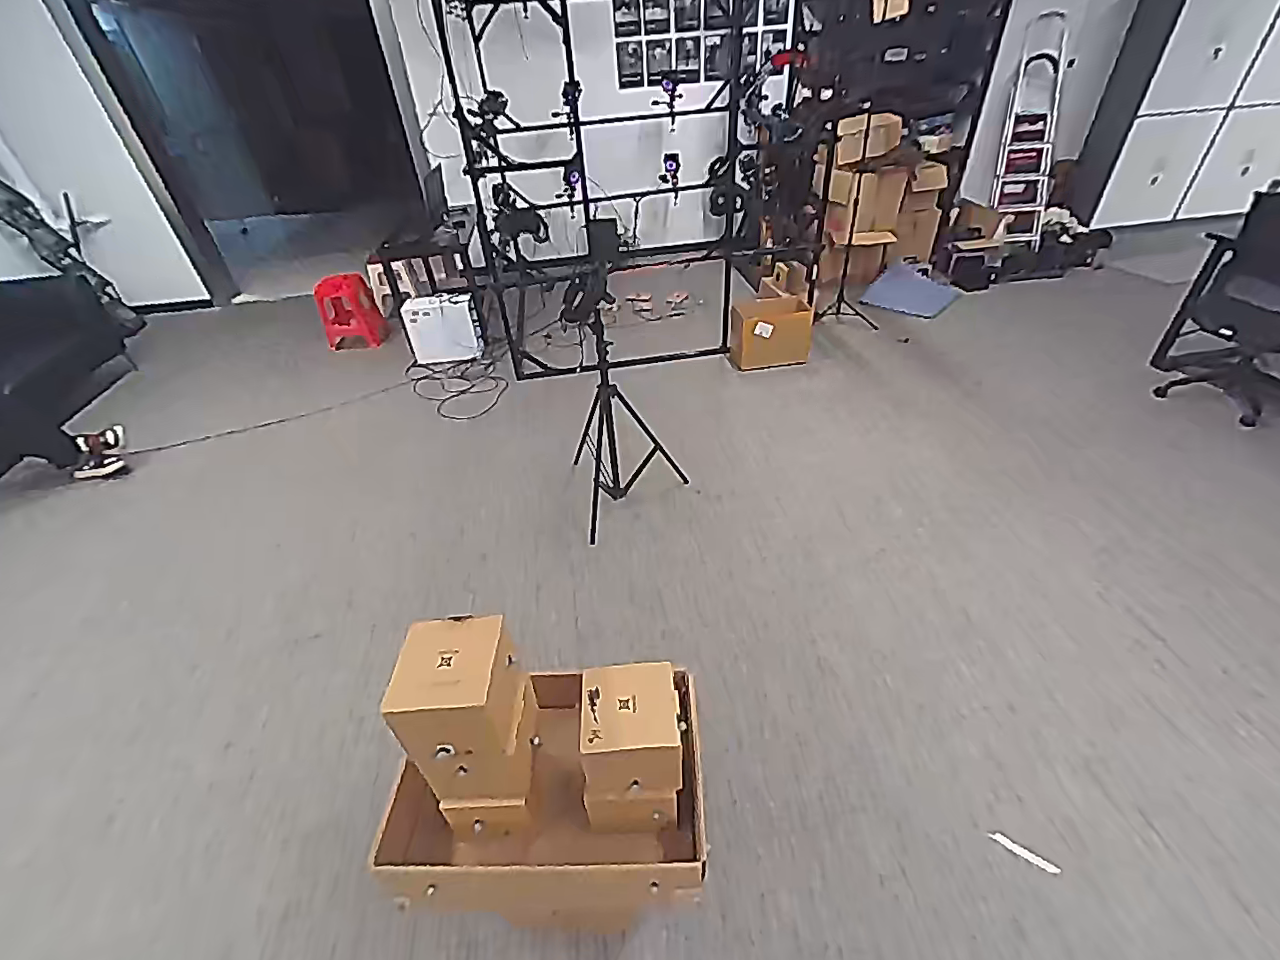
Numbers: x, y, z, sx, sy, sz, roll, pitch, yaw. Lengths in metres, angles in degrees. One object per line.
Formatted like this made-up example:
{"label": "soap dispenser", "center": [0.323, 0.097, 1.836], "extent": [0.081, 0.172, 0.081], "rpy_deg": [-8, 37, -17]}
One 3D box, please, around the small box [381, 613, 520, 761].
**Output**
{"label": "small box", "center": [-0.310, 0.355, 0.931], "extent": [0.168, 0.176, 0.179], "rpy_deg": [-4, 37, 1]}

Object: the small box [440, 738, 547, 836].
{"label": "small box", "center": [-0.293, 0.619, 1.125], "extent": [0.168, 0.176, 0.179], "rpy_deg": [-3, 37, 0]}

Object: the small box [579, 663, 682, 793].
{"label": "small box", "center": [-0.014, 0.468, 1.020], "extent": [0.179, 0.176, 0.168], "rpy_deg": [-4, 38, 1]}

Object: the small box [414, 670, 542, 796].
{"label": "small box", "center": [-0.297, 0.484, 1.031], "extent": [0.179, 0.176, 0.168], "rpy_deg": [-2, 38, 2]}
